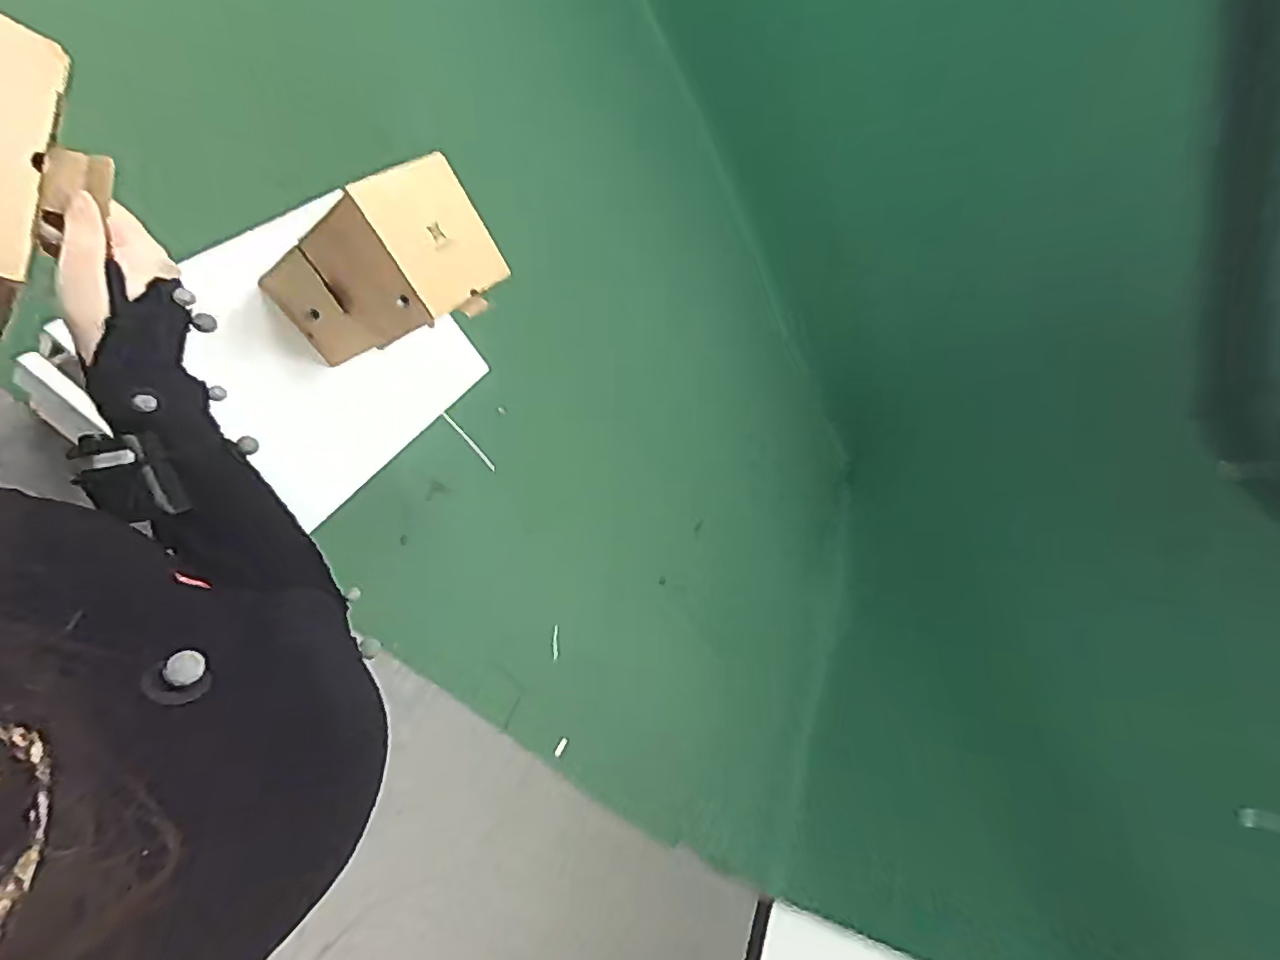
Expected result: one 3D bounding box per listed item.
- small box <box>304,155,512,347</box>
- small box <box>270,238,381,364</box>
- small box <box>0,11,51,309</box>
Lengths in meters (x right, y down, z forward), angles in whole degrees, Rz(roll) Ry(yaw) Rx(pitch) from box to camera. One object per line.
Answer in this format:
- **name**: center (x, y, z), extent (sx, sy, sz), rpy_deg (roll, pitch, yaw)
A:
- **small box**: center (-0.325, -0.314, 0.761), extent (0.168, 0.176, 0.179), rpy_deg (-54, 126, -39)
- **small box**: center (-0.450, -0.307, 0.865), extent (0.168, 0.176, 0.179), rpy_deg (59, 47, -29)
- **small box**: center (-0.489, -0.202, 0.312), extent (0.179, 0.176, 0.168), rpy_deg (10, 80, -52)
